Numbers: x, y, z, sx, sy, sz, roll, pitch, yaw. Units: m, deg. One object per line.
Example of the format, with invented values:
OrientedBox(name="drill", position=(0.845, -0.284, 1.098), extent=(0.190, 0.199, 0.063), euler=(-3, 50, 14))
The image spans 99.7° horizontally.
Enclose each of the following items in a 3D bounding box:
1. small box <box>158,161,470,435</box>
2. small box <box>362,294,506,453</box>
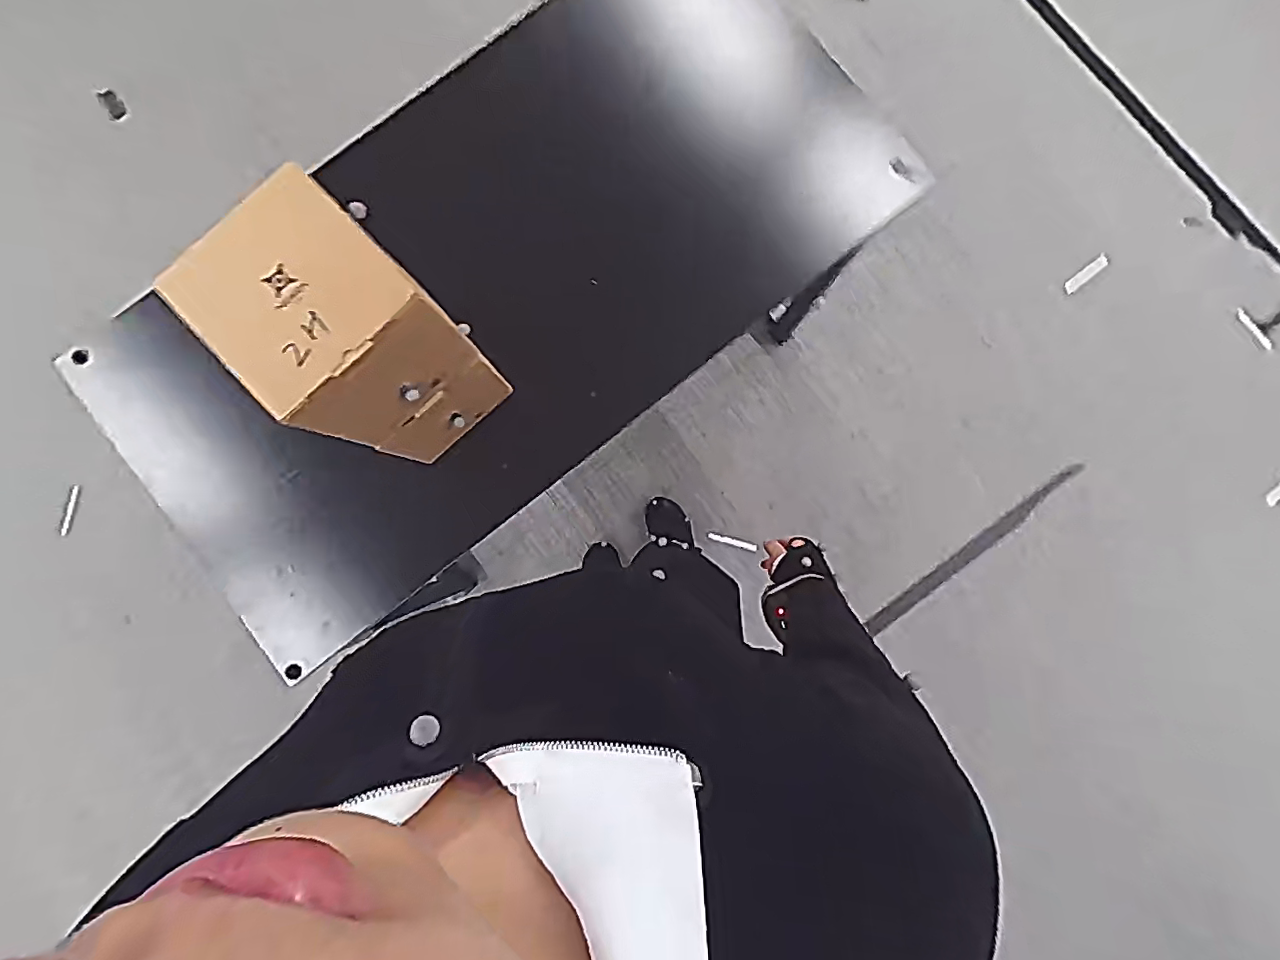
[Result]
OrientedBox(name="small box", position=(-0.311, -0.166, 0.556), extent=(0.168, 0.176, 0.179), euler=(-44, 87, -2))
OrientedBox(name="small box", position=(-0.307, -0.150, 0.722), extent=(0.168, 0.176, 0.179), euler=(-43, 87, -2))
